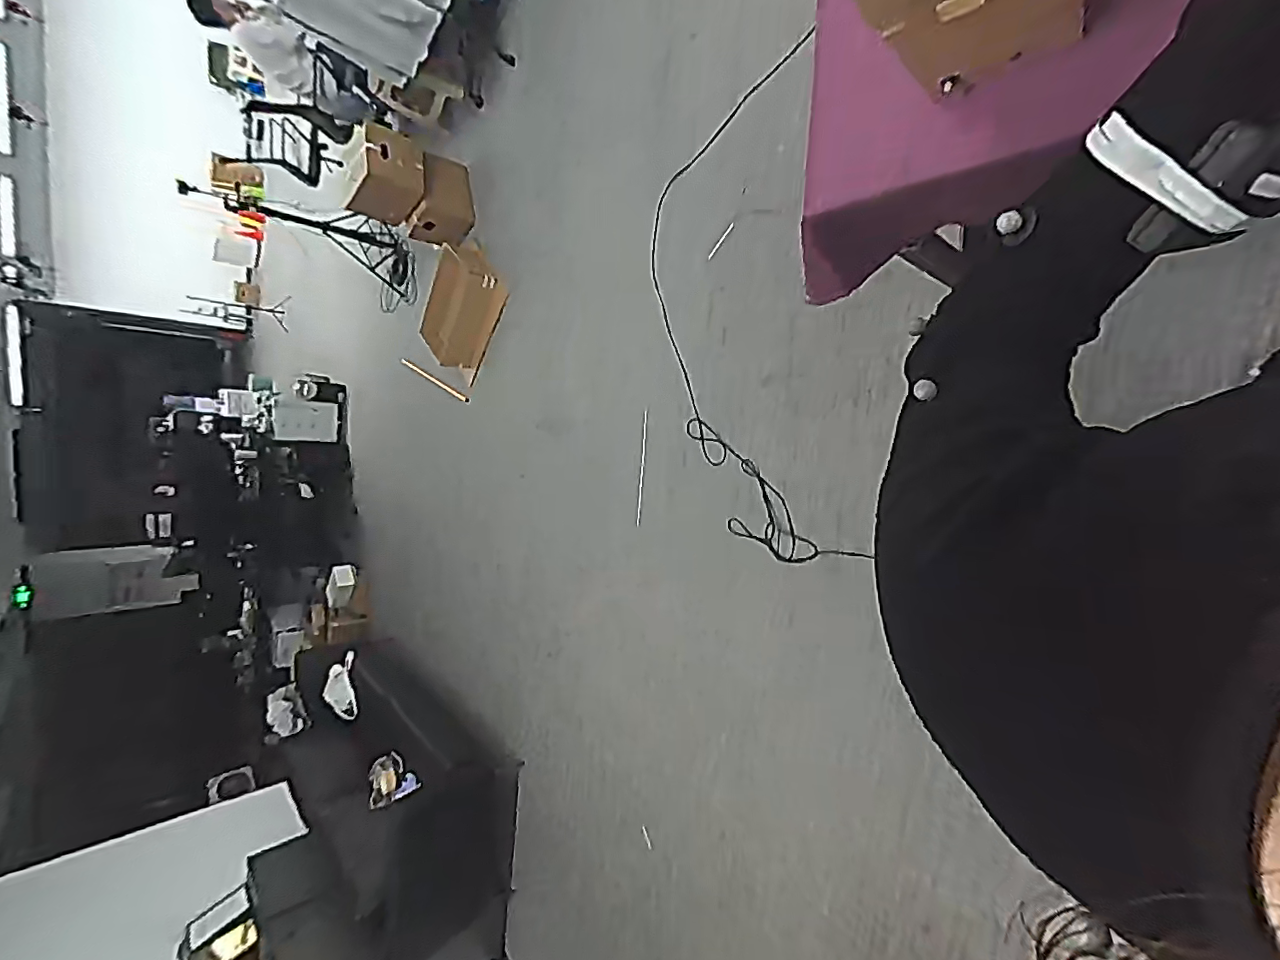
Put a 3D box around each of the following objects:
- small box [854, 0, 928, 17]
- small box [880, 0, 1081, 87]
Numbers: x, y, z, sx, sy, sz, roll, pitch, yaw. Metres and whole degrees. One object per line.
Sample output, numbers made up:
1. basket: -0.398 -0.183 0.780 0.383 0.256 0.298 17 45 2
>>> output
1. small box: 0.279 -0.602 0.521 0.168 0.176 0.179 9 98 46
2. small box: 0.402 -0.604 0.630 0.168 0.176 0.179 6 95 46
